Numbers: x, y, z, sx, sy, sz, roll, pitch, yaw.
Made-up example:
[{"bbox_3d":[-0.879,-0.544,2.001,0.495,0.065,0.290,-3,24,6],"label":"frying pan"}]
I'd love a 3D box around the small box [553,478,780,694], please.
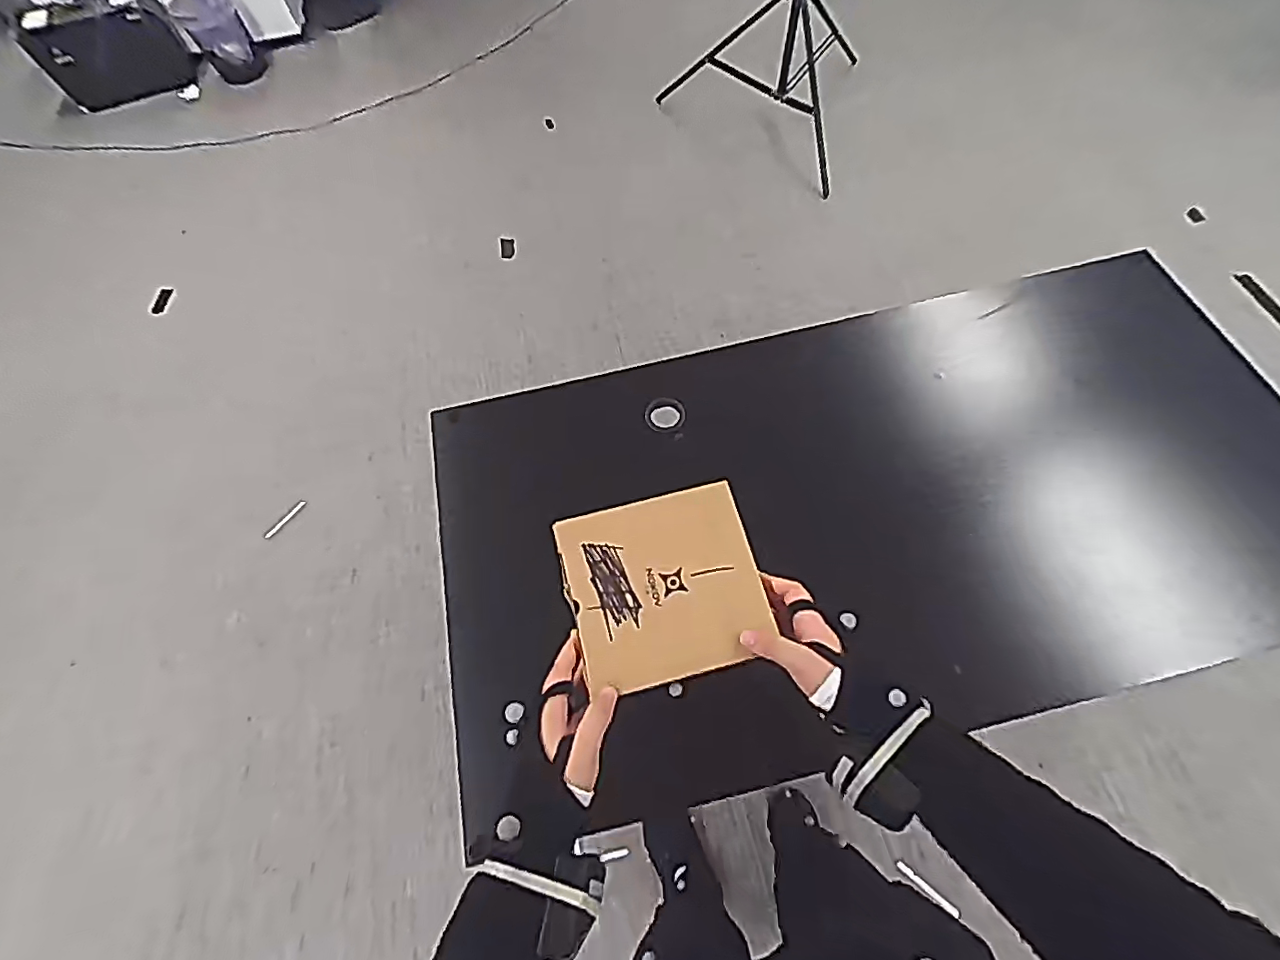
[{"bbox_3d":[0.021,0.119,0.563,0.179,0.176,0.168,-14,70,-5],"label":"small box"}]
